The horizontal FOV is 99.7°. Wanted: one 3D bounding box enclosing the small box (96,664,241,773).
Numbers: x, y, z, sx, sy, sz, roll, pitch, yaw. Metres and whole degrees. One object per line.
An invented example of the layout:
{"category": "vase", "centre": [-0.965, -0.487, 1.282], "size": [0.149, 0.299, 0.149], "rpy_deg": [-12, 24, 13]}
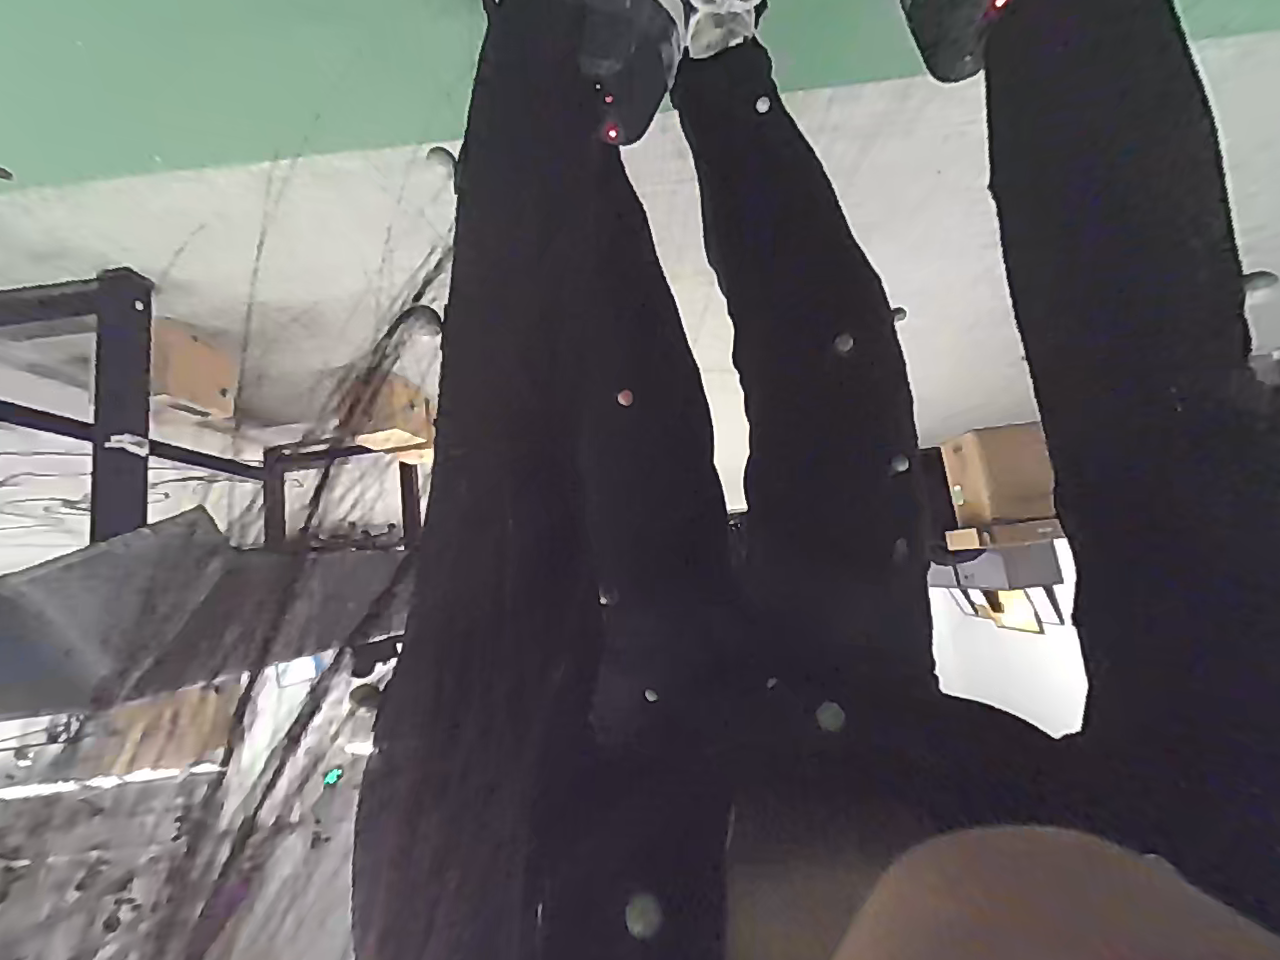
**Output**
{"category": "small box", "centre": [-0.987, 0.495, 1.147], "size": [0.179, 0.176, 0.168], "rpy_deg": [-8, 172, 3]}
